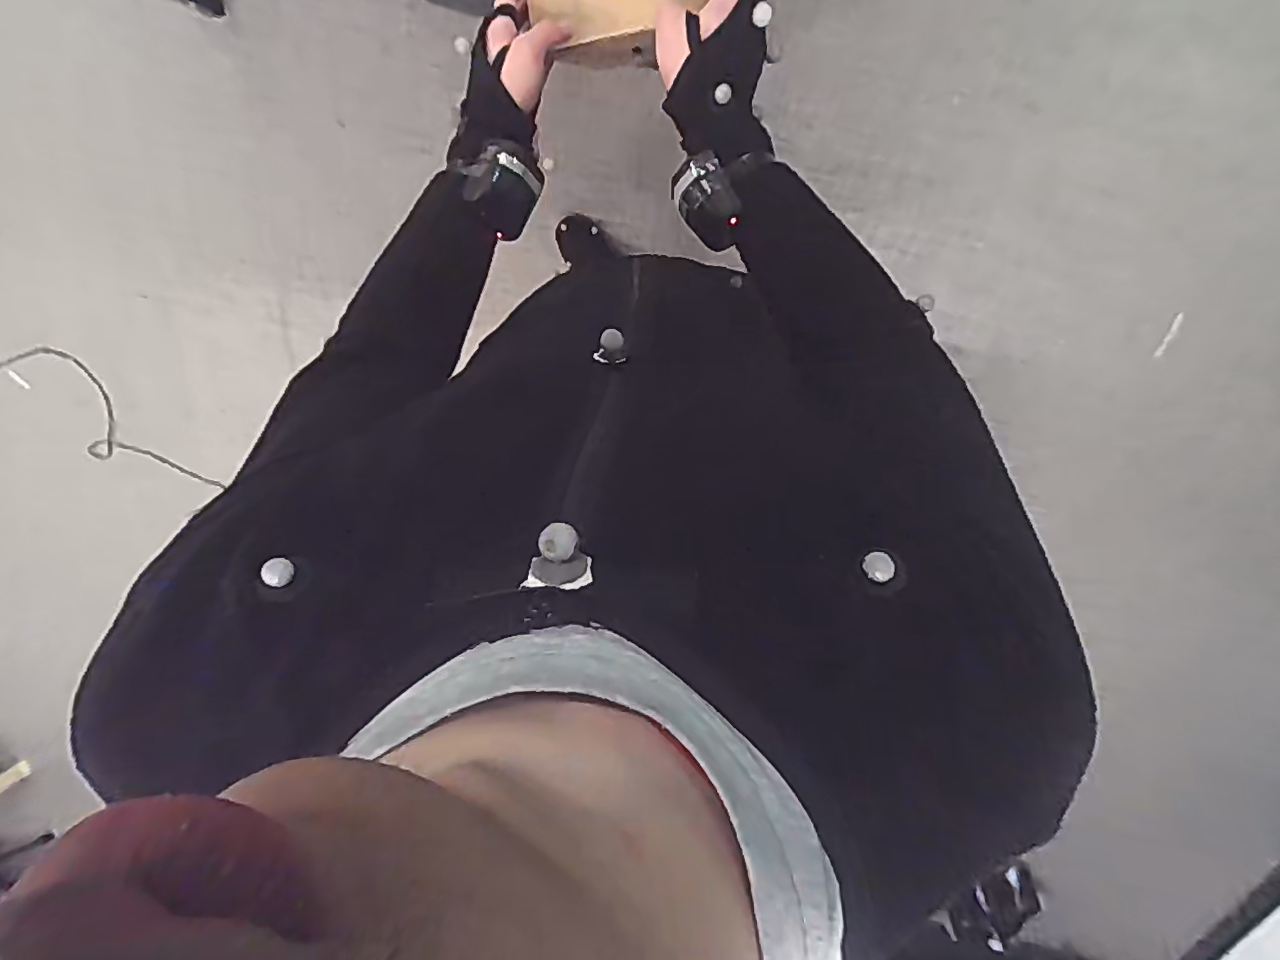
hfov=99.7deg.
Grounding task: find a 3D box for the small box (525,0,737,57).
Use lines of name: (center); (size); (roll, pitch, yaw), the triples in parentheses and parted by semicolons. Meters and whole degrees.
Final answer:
small box: (-0.004, -0.497, 0.478); (0.179, 0.176, 0.168); (1, 121, 14)
